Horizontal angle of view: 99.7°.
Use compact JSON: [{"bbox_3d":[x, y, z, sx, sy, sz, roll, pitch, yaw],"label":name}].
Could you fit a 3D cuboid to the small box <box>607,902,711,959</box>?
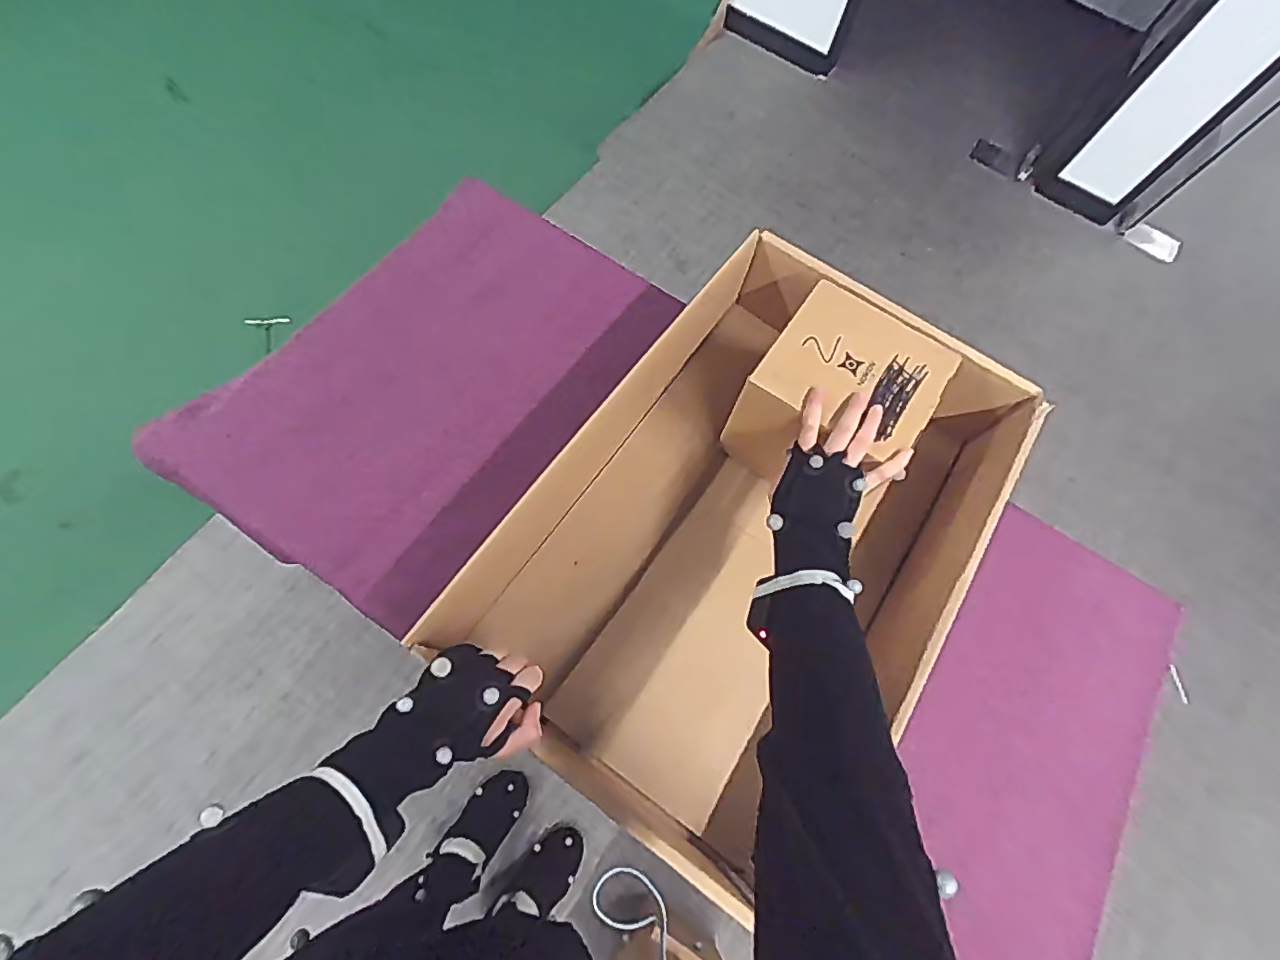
[{"bbox_3d":[0.039,0.983,1.059,0.179,0.176,0.168,33,70,8],"label":"small box"}]
